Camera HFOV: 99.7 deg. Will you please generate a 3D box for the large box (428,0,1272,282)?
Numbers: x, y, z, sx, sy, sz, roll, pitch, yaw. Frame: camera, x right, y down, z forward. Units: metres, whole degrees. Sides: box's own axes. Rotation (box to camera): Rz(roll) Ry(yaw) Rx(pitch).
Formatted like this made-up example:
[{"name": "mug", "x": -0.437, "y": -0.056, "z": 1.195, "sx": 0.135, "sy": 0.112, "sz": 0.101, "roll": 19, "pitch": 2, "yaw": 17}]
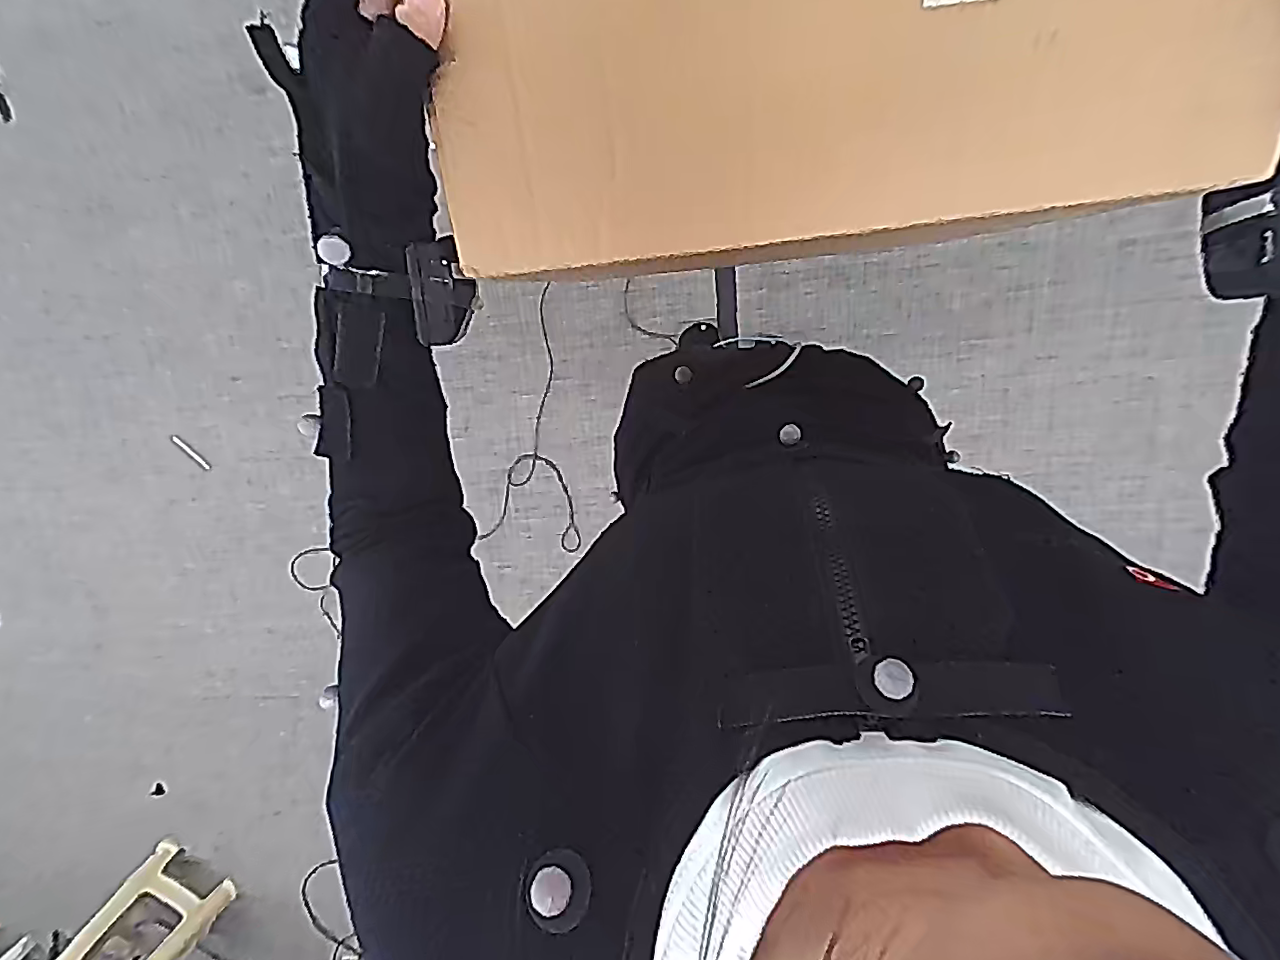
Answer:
[{"name": "large box", "x": 0.095, "y": -0.332, "z": 0.386, "sx": 0.408, "sy": 0.320, "sz": 0.320, "roll": -5, "pitch": 110, "yaw": 6}]
